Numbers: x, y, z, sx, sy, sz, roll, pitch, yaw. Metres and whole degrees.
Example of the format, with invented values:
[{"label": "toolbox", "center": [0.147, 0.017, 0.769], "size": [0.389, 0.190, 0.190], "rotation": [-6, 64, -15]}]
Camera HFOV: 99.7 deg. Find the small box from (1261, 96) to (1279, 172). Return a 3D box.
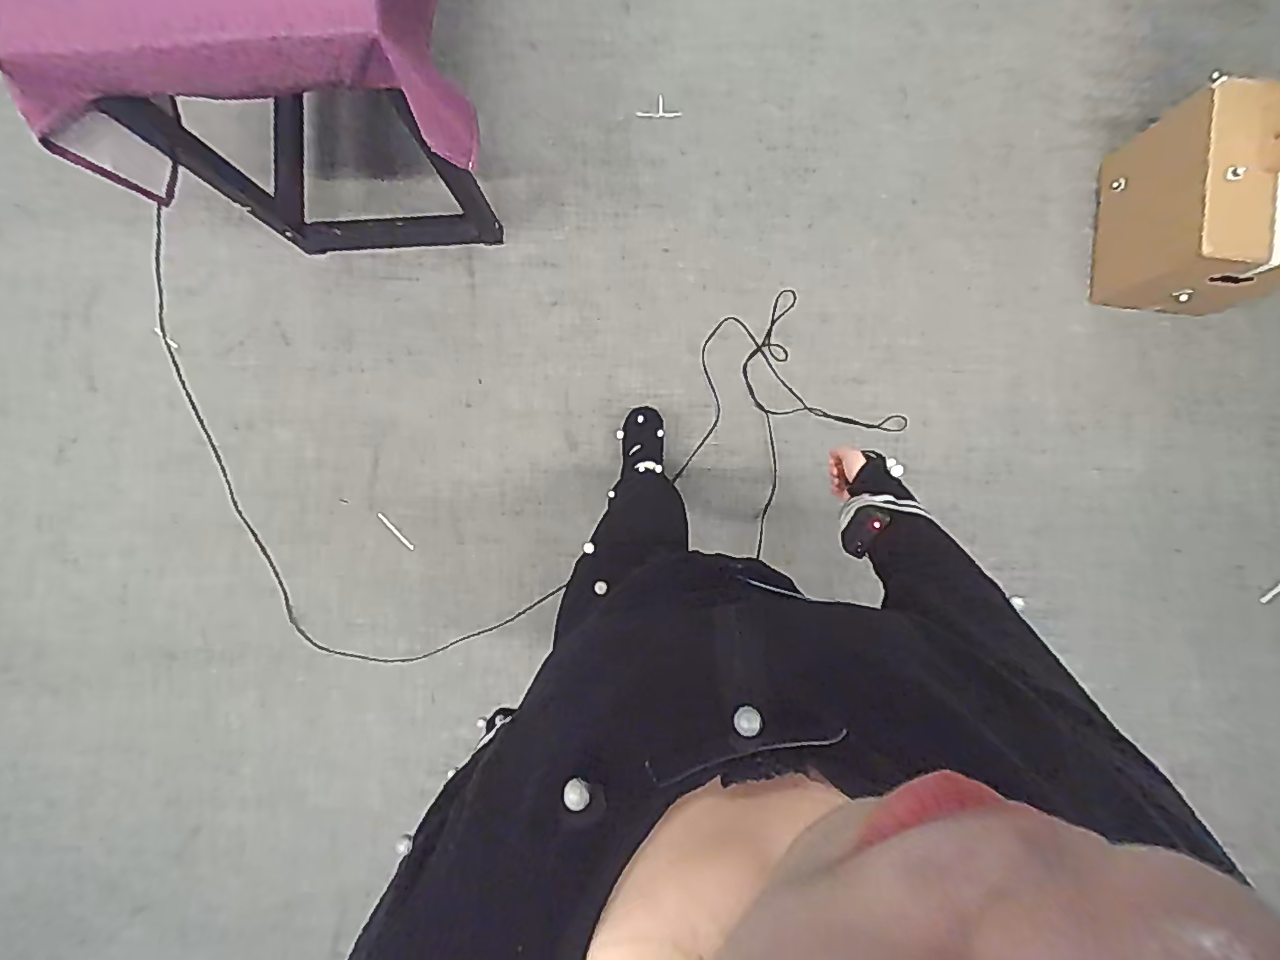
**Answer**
[{"label": "small box", "center": [1.446, -0.747, 1.103], "size": [0.179, 0.176, 0.168], "rotation": [7, 89, 0]}]
